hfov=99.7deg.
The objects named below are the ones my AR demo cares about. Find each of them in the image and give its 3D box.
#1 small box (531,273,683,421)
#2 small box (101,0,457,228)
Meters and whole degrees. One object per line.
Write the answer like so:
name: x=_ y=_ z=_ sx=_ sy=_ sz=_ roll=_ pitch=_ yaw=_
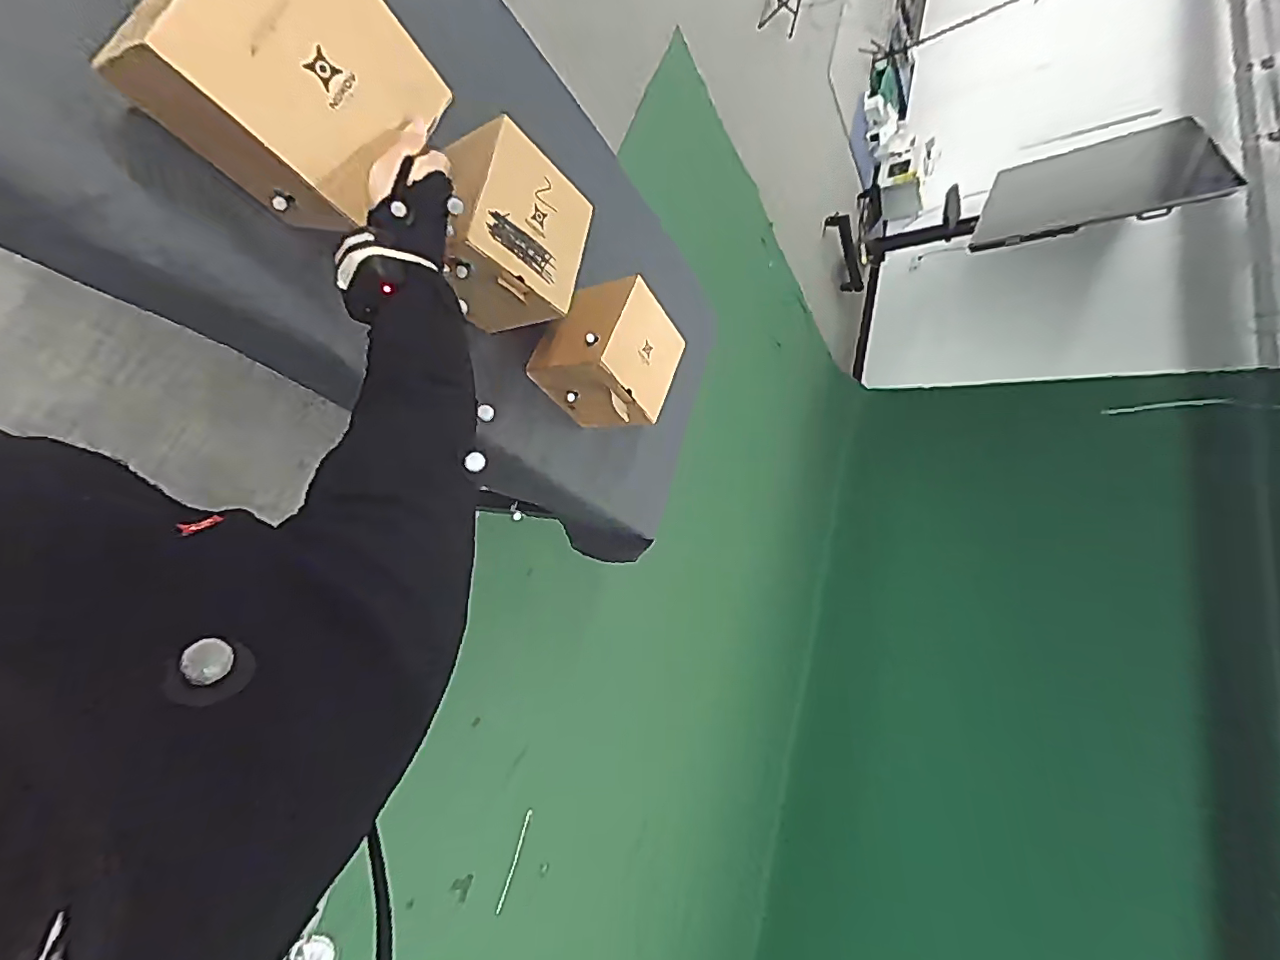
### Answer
small box: x=-0.055 y=-0.217 z=0.917 sx=0.168 sy=0.176 sz=0.179 roll=44 pitch=59 yaw=-46
small box: x=-0.309 y=-0.356 z=0.477 sx=0.168 sy=0.176 sz=0.179 roll=-63 pitch=146 yaw=-8
